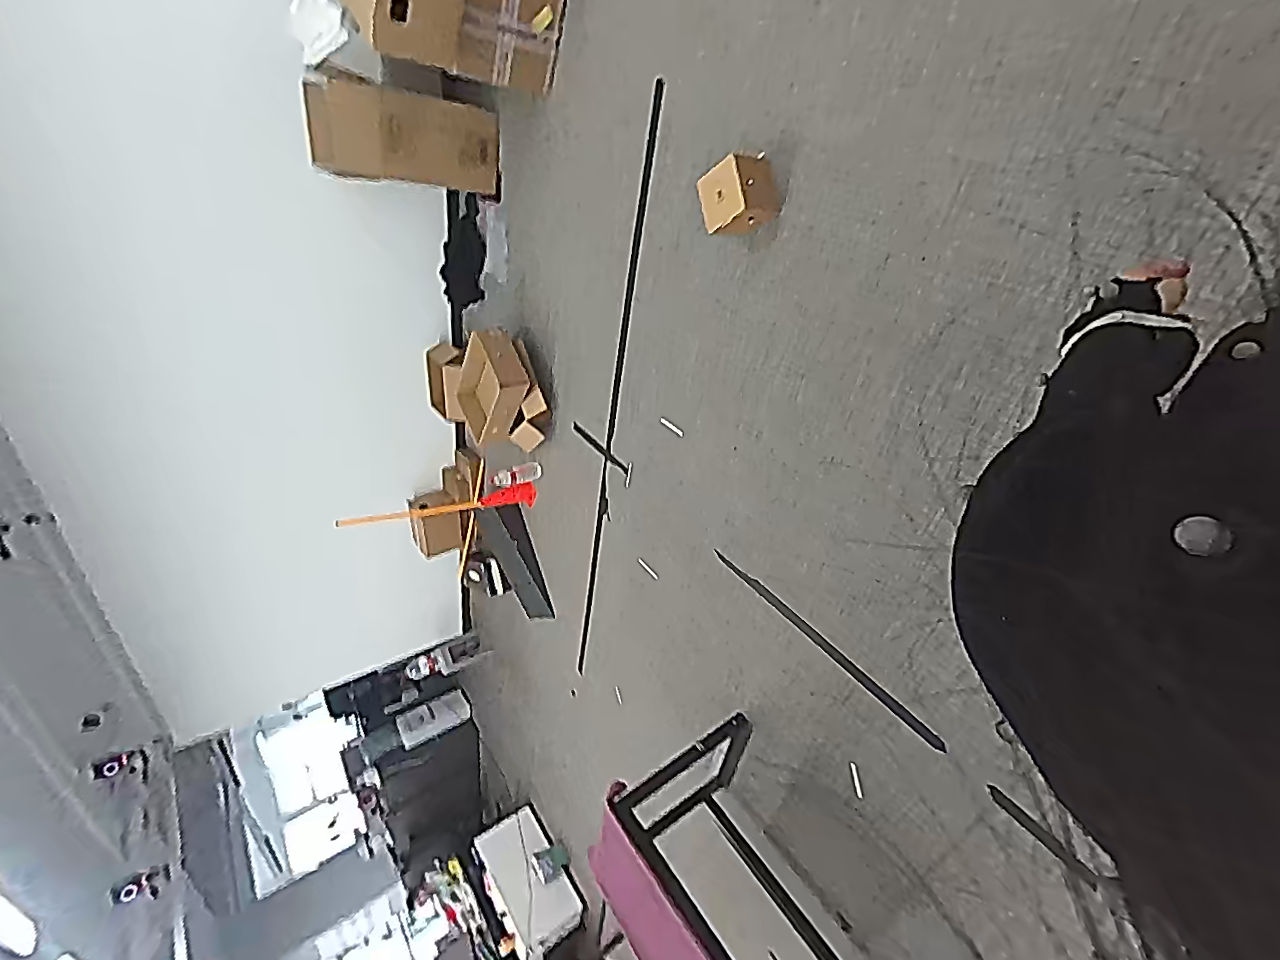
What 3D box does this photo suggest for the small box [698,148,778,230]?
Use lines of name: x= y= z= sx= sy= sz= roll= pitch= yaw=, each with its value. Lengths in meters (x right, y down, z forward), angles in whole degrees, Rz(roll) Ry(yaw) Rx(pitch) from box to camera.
small box: x=0.316 y=-0.916 z=1.716 sx=0.168 sy=0.176 sz=0.179 roll=-10 pitch=94 yaw=54
